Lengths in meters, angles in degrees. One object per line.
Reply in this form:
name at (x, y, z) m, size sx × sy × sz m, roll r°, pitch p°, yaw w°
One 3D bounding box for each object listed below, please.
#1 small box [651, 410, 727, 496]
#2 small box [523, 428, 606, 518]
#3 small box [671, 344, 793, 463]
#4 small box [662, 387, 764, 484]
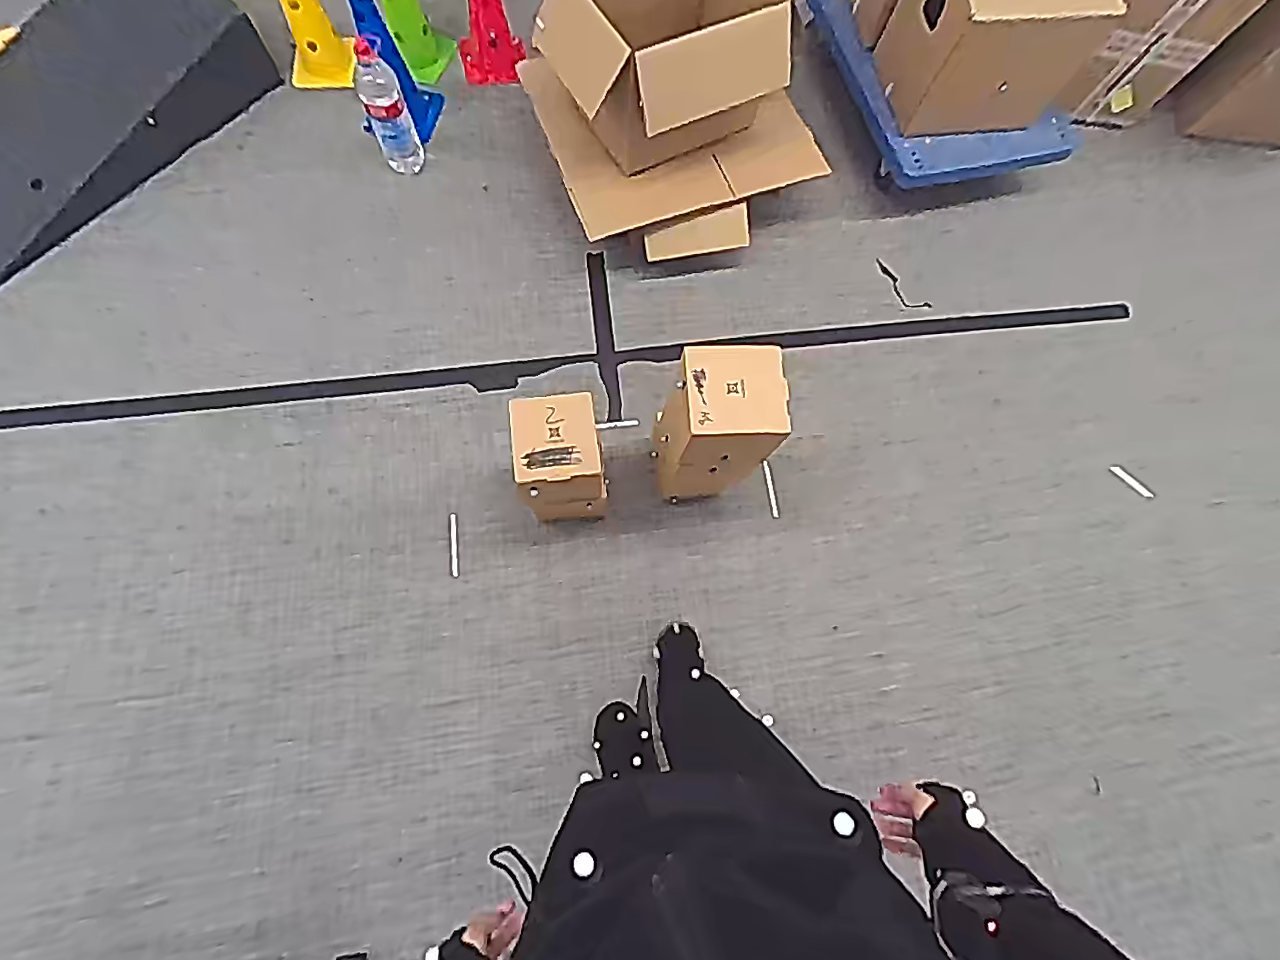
small box at (0.124, -0.065, 1.314) m, size 0.168 × 0.176 × 0.179 m, roll -6°, pitch 74°, yaw -7°
small box at (-0.173, -0.012, 1.274) m, size 0.179 × 0.176 × 0.168 m, roll -5°, pitch 75°, yaw -7°
small box at (0.159, -0.133, 0.994) m, size 0.179 × 0.176 × 0.168 m, roll -1°, pitch 75°, yaw -7°
small box at (0.145, -0.093, 1.152) m, size 0.179 × 0.176 × 0.168 m, roll -4°, pitch 75°, yaw -7°
